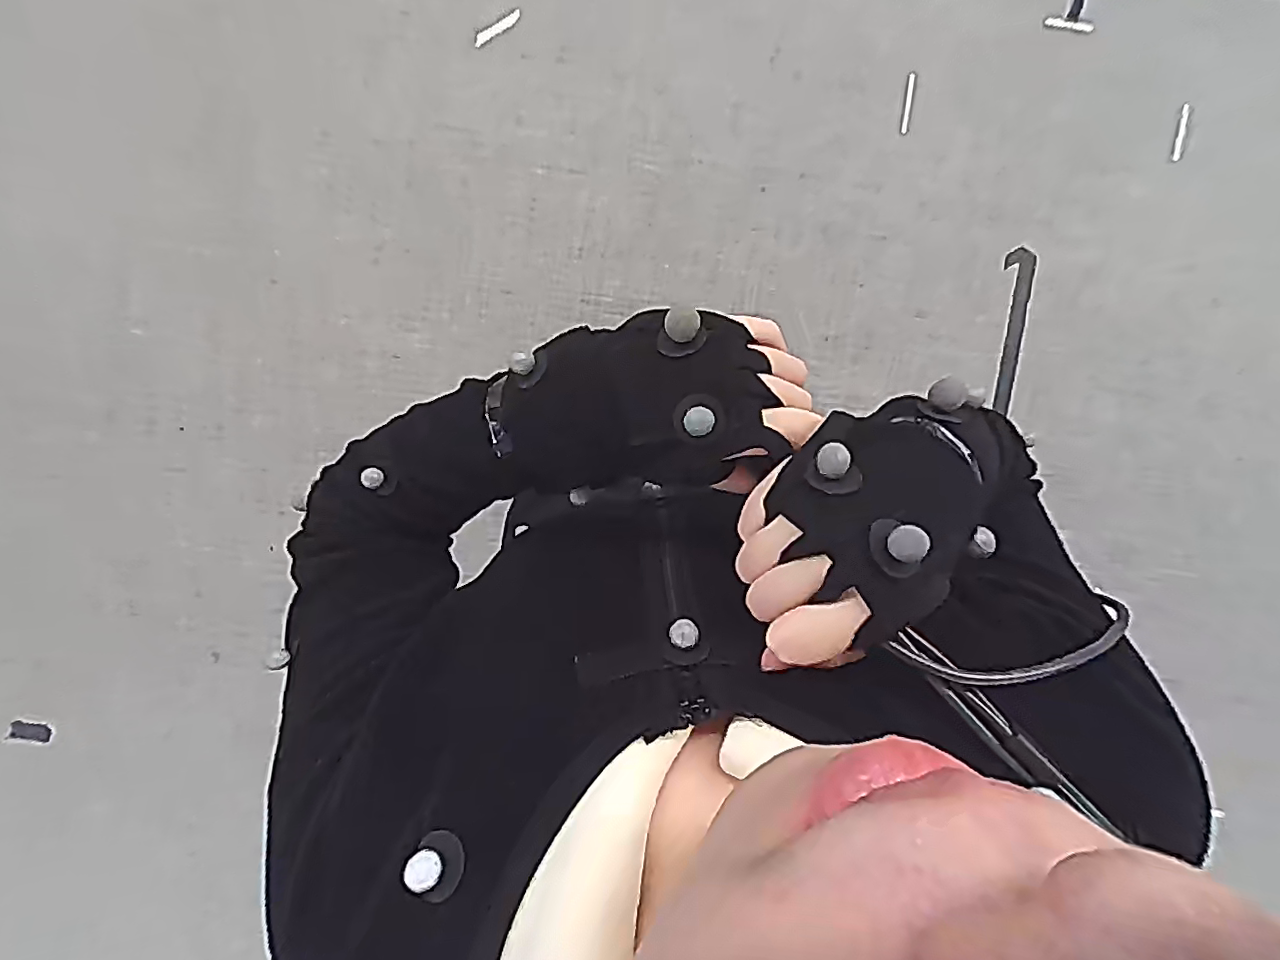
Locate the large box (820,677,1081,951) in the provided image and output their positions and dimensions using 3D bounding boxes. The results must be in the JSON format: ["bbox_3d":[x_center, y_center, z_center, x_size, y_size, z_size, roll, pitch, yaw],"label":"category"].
[{"bbox_3d":[0.706,0.764,1.290,0.320,0.320,0.408,28,93,-6],"label":"large box"}]
